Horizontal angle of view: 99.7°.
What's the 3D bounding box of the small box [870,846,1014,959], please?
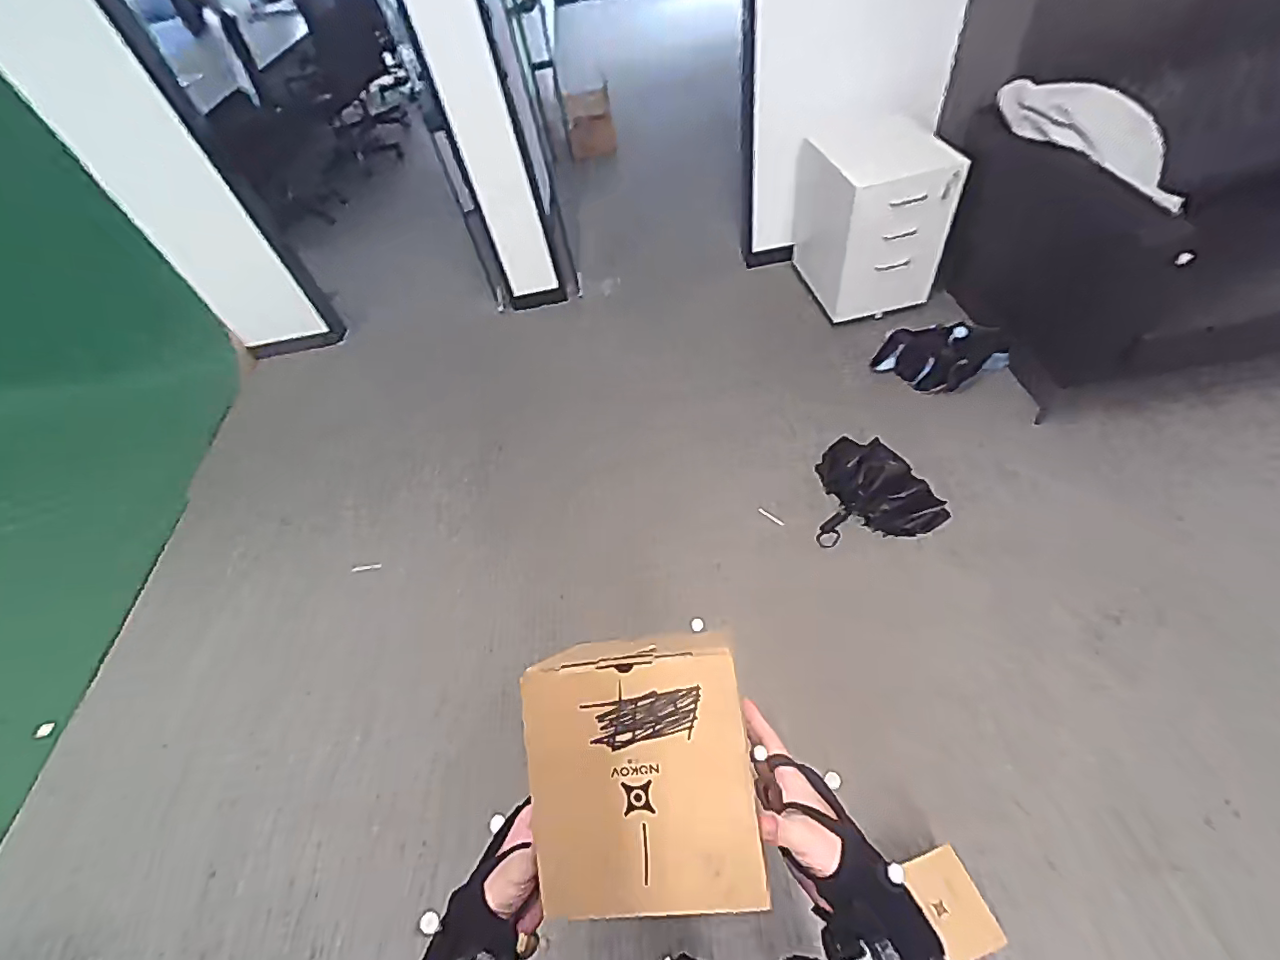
[{"bbox_3d":[0.580,0.861,1.073,0.179,0.176,0.168,-20,52,-6],"label":"small box"}]
